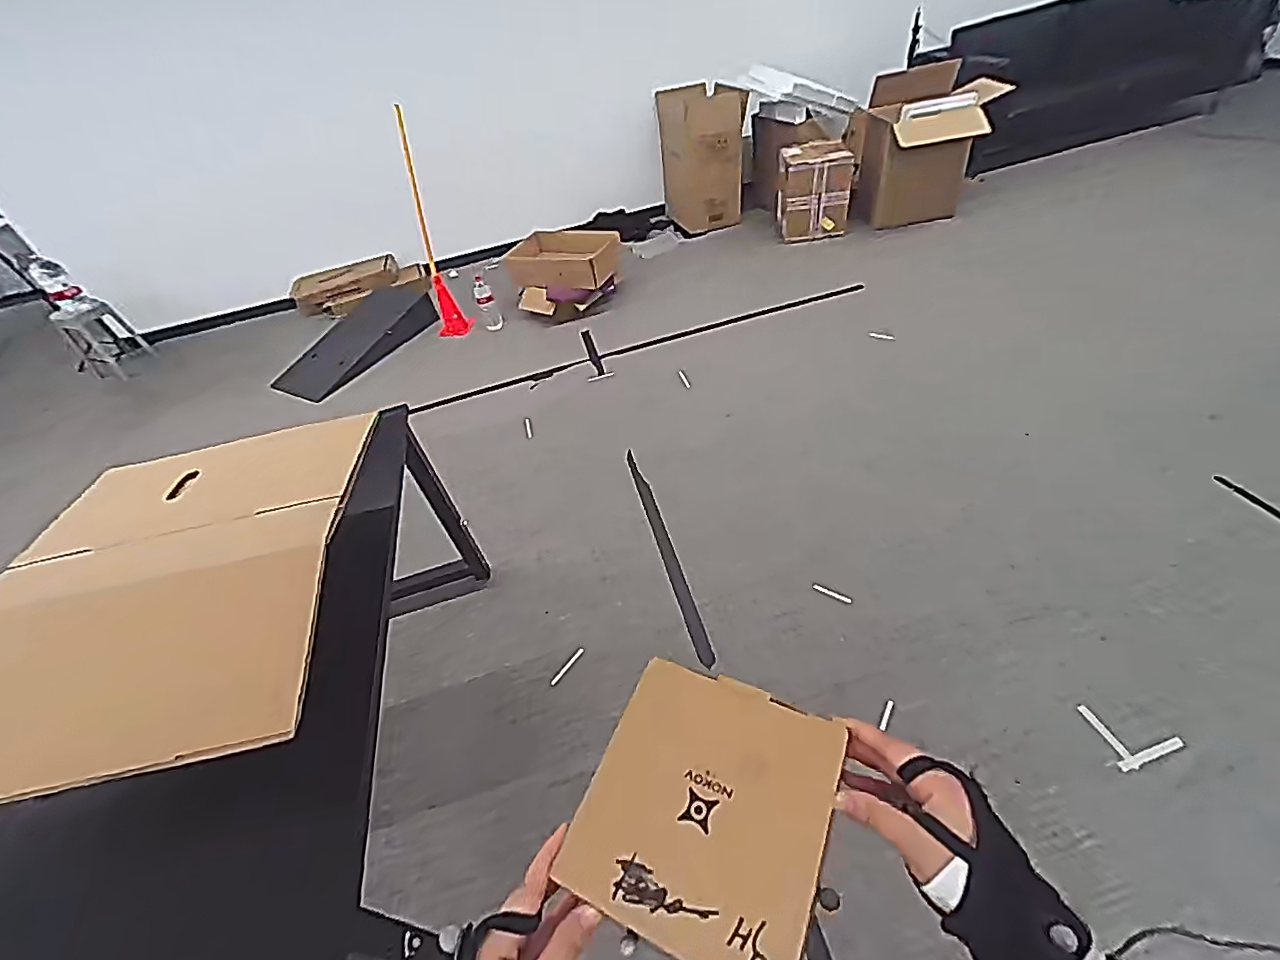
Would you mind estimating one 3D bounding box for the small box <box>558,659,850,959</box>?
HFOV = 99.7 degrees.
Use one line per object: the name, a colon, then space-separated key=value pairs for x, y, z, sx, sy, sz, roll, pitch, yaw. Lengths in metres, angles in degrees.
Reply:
small box: x=0.064 y=0.286 z=0.441 sx=0.168 sy=0.176 sz=0.179 roll=10 pitch=48 yaw=27
